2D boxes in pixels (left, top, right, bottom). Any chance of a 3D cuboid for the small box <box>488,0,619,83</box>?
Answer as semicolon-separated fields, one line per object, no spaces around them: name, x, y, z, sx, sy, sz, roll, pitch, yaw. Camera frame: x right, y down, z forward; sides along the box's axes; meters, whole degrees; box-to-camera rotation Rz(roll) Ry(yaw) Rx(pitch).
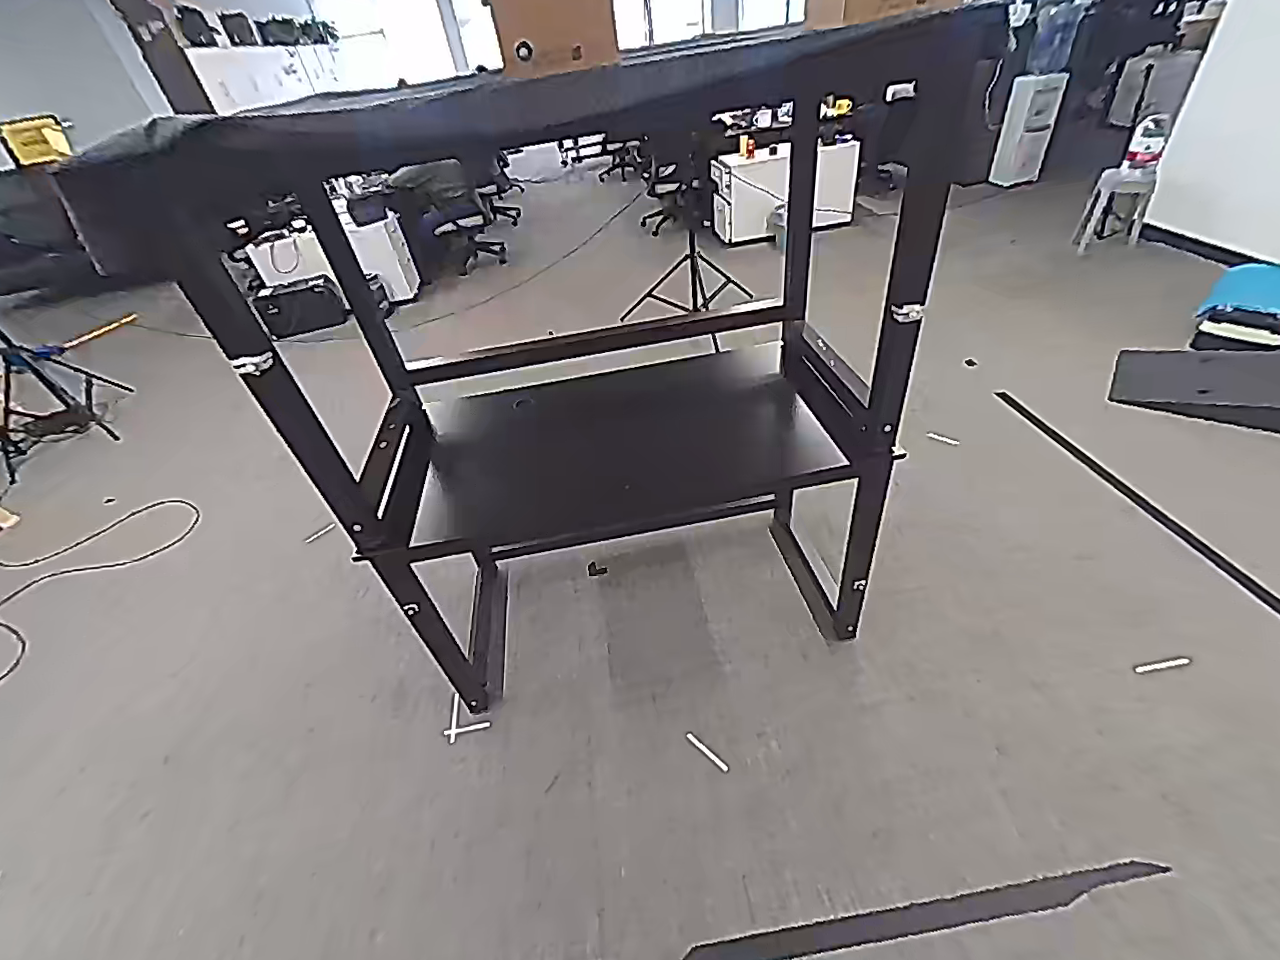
small box;-0.129;-0.685;0.775;0.168;0.176;0.179;-11;38;-2
